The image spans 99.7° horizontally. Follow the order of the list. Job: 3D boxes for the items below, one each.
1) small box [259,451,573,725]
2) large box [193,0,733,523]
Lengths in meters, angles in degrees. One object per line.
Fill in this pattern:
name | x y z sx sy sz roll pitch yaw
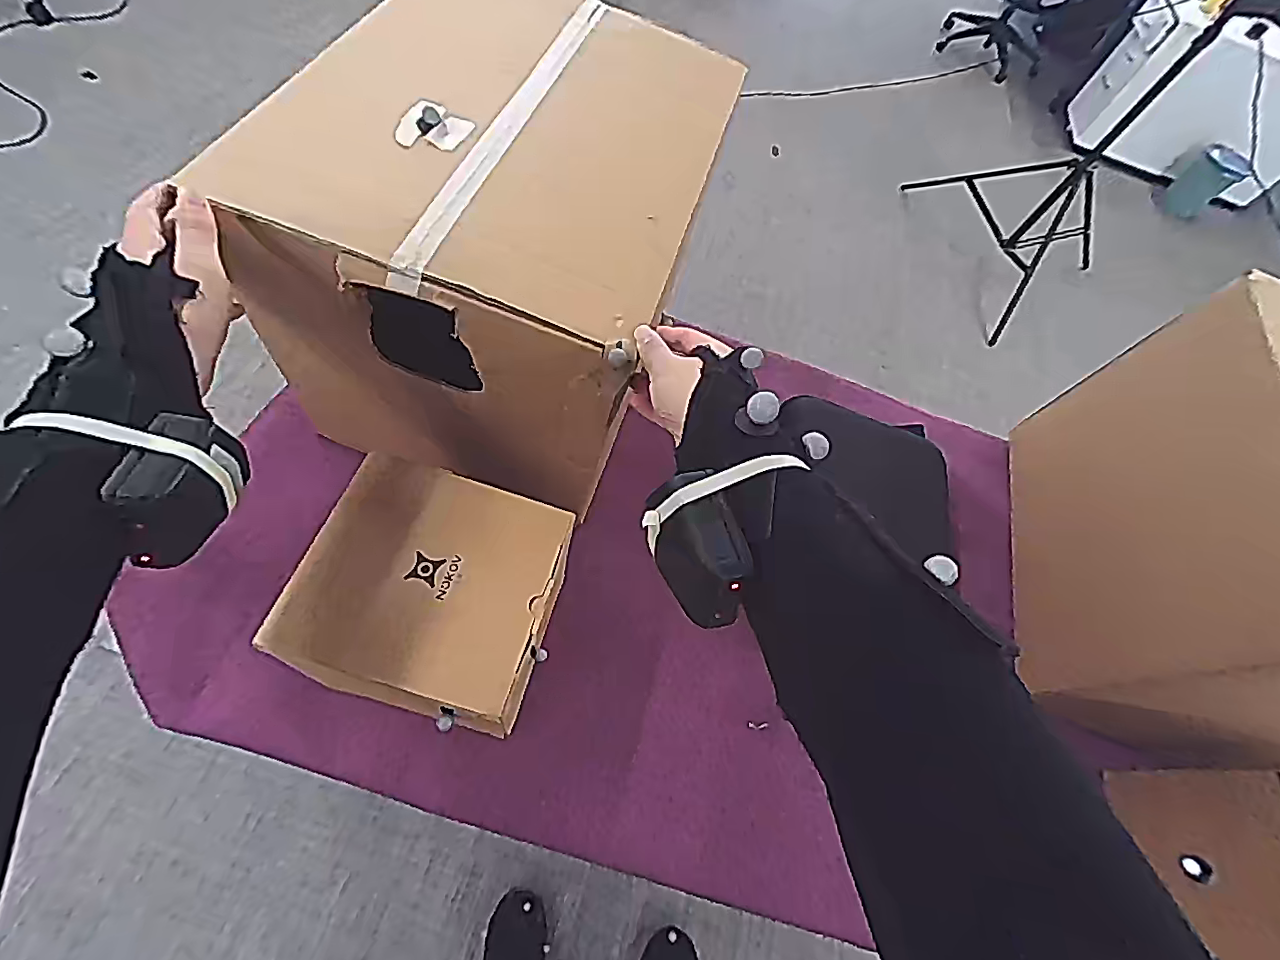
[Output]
small box | -0.173 0.105 0.475 0.179 0.176 0.168 18 59 -4
large box | -0.128 -0.224 0.578 0.320 0.320 0.408 19 63 -3
